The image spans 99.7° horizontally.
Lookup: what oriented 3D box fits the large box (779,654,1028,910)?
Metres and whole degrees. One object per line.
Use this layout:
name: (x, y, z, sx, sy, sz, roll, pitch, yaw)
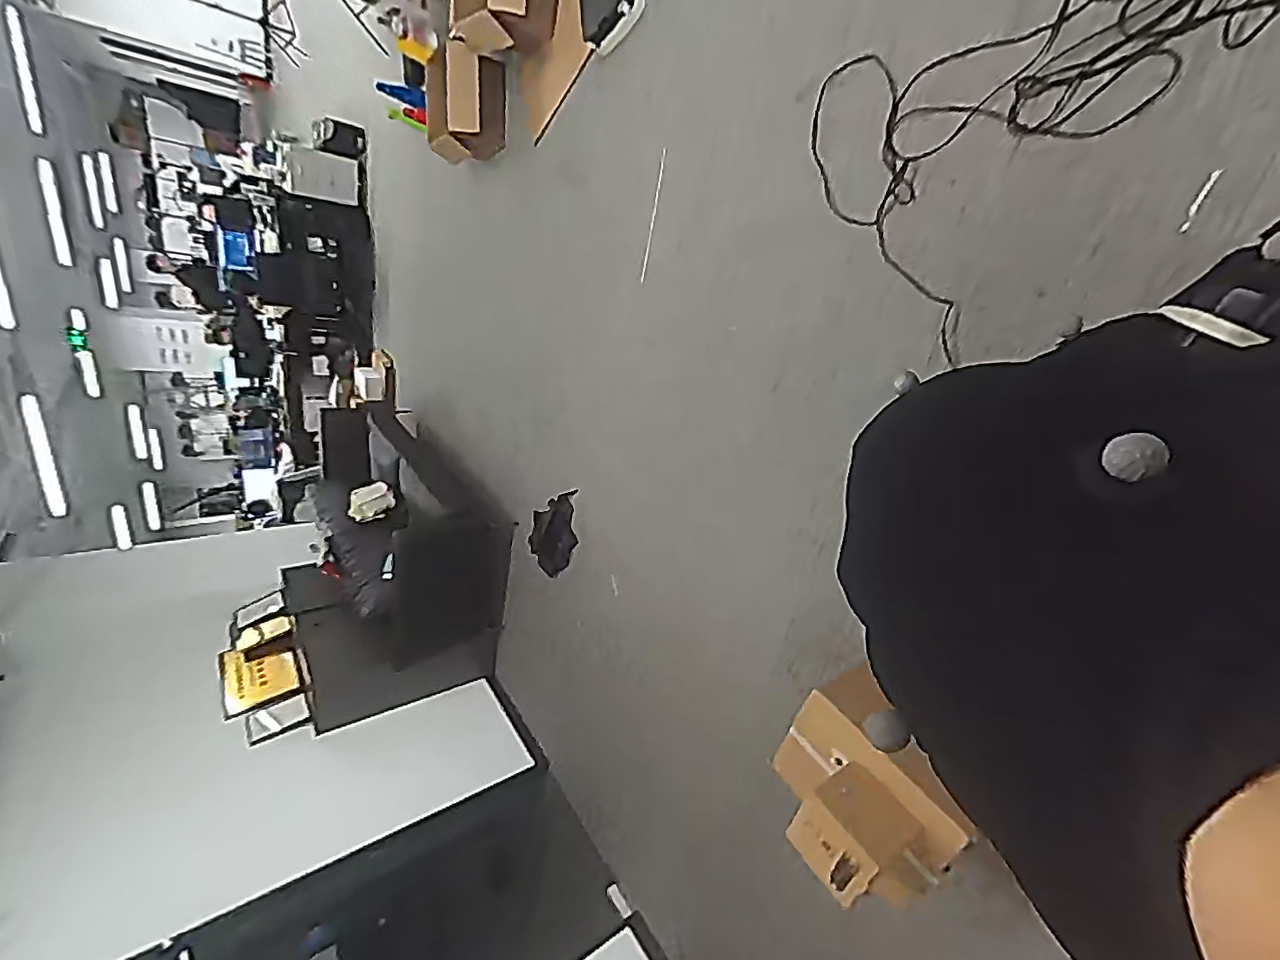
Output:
large box: (0.639, 0.721, 1.355, 0.408, 0.320, 0.320, 42, 127, 42)
